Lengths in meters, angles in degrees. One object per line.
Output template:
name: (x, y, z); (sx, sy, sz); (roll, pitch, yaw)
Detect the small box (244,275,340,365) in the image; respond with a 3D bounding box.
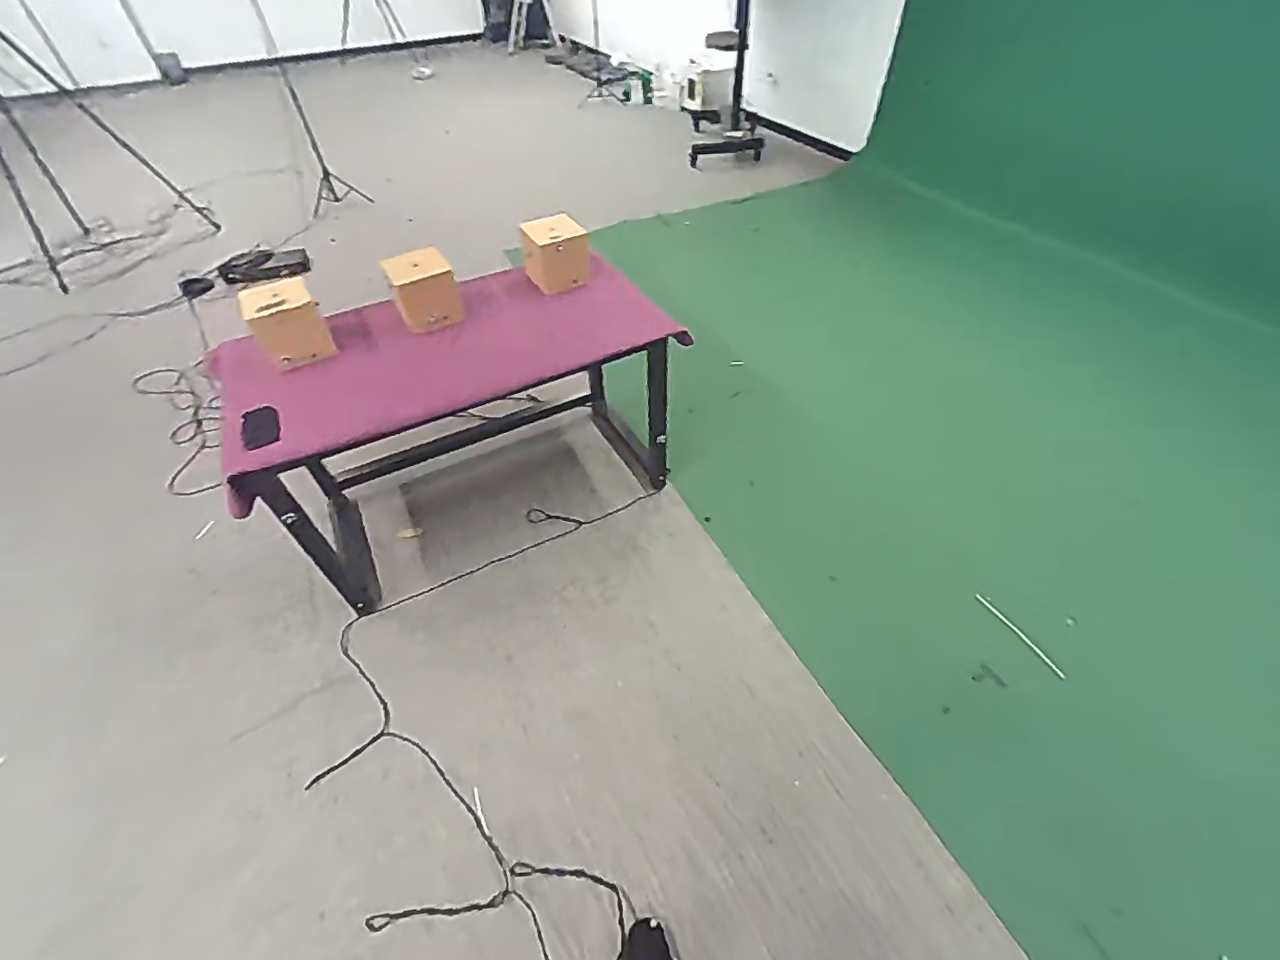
small box: (-0.969, -0.442, 1.513); (0.168, 0.176, 0.179); (-25, 51, -20)

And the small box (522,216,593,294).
small box: (-0.265, -0.731, 1.760); (0.168, 0.176, 0.179); (-24, 51, -18)

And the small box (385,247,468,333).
small box: (-0.638, -0.569, 1.623); (0.168, 0.176, 0.179); (-25, 53, -19)
